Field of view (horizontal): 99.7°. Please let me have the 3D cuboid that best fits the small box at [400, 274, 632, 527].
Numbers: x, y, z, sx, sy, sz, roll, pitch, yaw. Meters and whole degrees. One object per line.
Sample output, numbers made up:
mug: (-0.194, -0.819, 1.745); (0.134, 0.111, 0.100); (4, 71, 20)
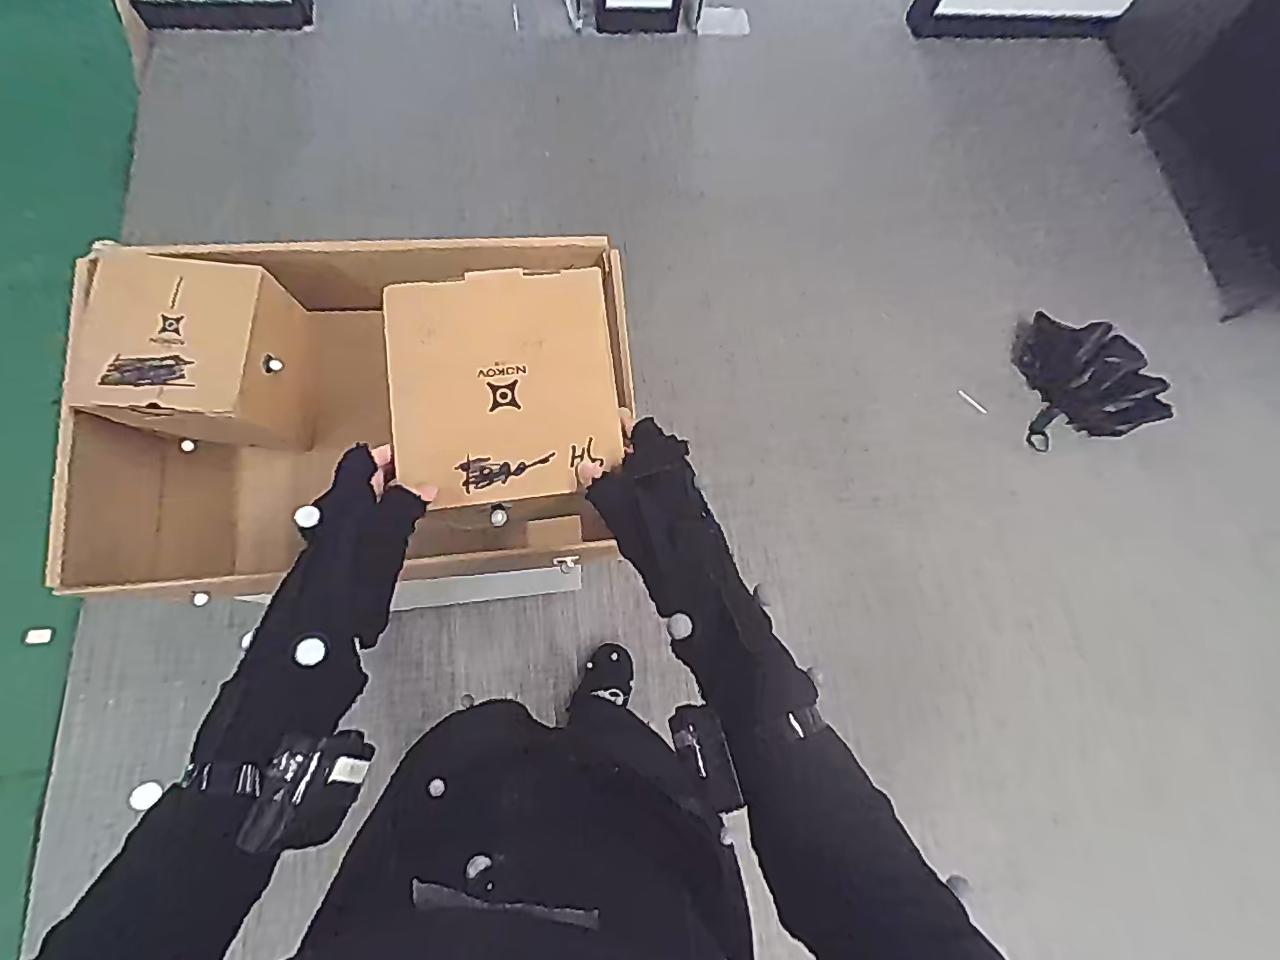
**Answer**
small box: (-0.101, -0.058, 0.491); (0.168, 0.176, 0.179); (-7, 81, -4)
